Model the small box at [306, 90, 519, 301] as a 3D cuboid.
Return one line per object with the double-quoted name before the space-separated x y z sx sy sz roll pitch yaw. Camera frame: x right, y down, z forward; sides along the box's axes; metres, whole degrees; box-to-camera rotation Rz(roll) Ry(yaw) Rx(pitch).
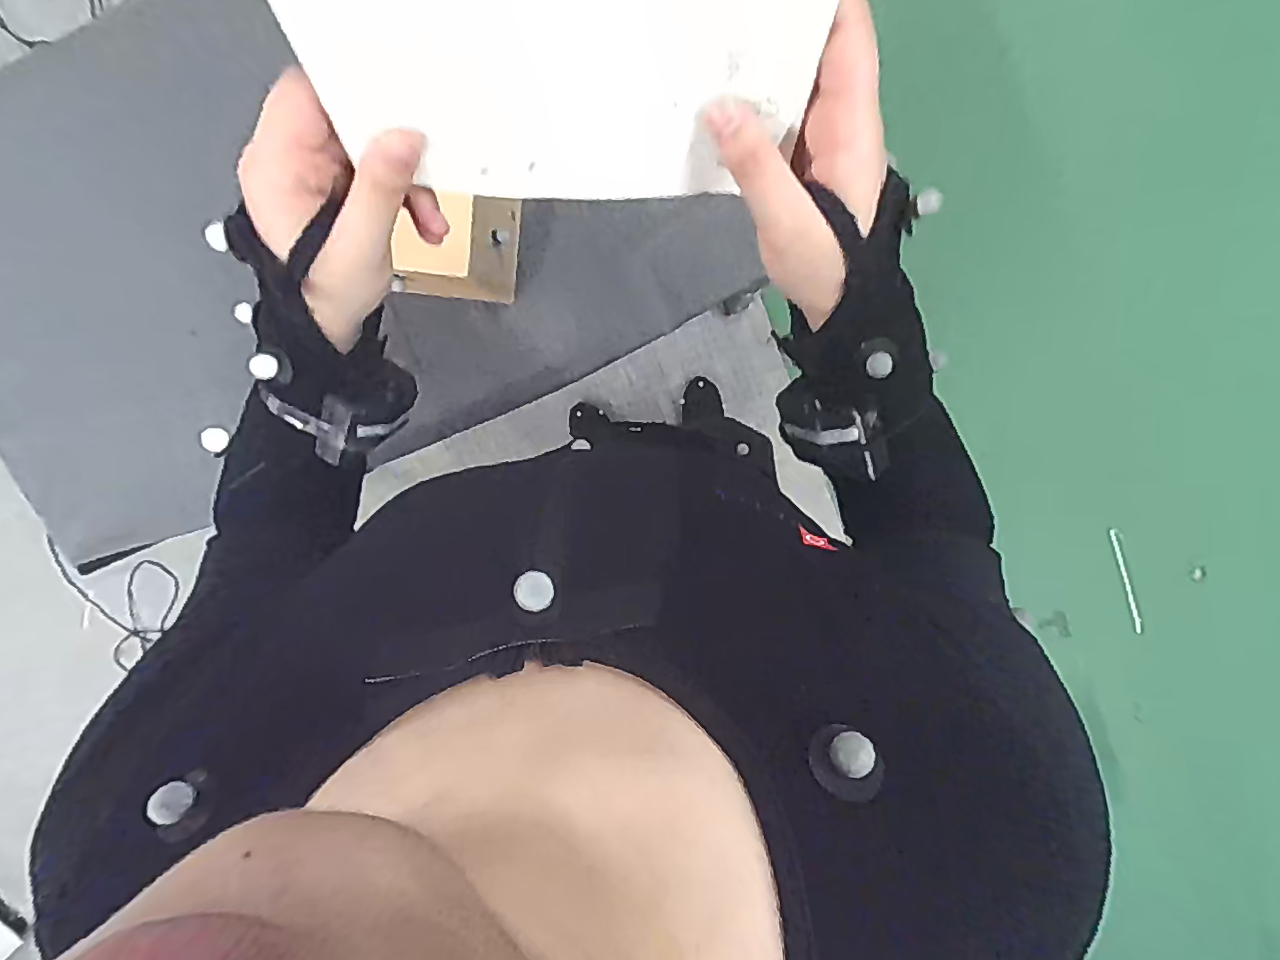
"small box" -0.248 -0.308 0.623 0.179 0.176 0.168 7 100 3
